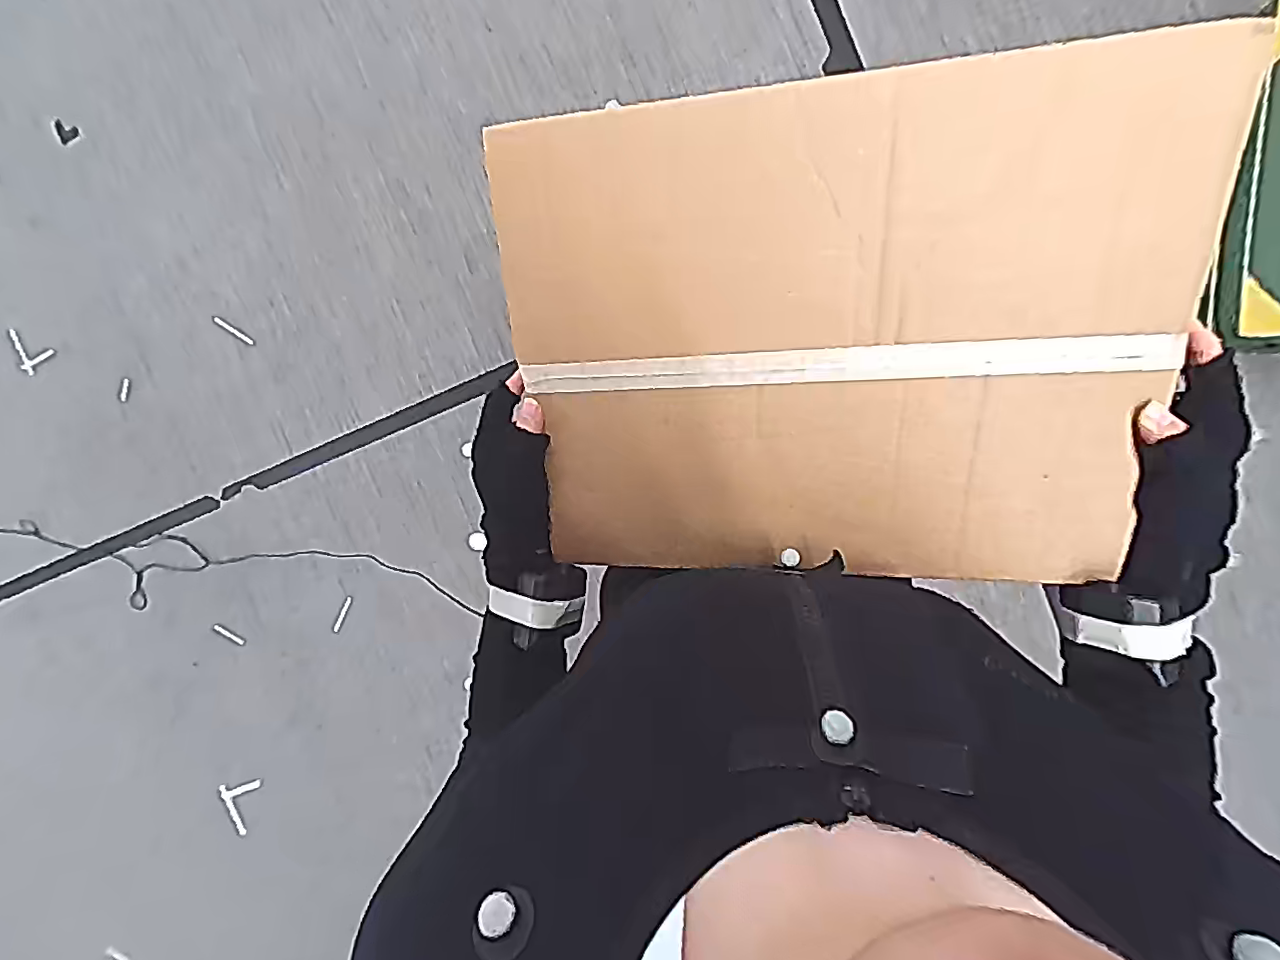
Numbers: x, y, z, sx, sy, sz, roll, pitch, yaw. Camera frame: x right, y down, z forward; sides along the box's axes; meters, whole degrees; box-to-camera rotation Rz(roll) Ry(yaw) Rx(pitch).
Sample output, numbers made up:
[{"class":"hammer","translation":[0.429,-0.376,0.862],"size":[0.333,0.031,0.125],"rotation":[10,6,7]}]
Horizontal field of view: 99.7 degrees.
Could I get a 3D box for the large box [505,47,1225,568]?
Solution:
[{"class":"large box","translation":[0.142,-0.132,0.503],"size":[0.408,0.320,0.320],"rotation":[0,114,12]}]
